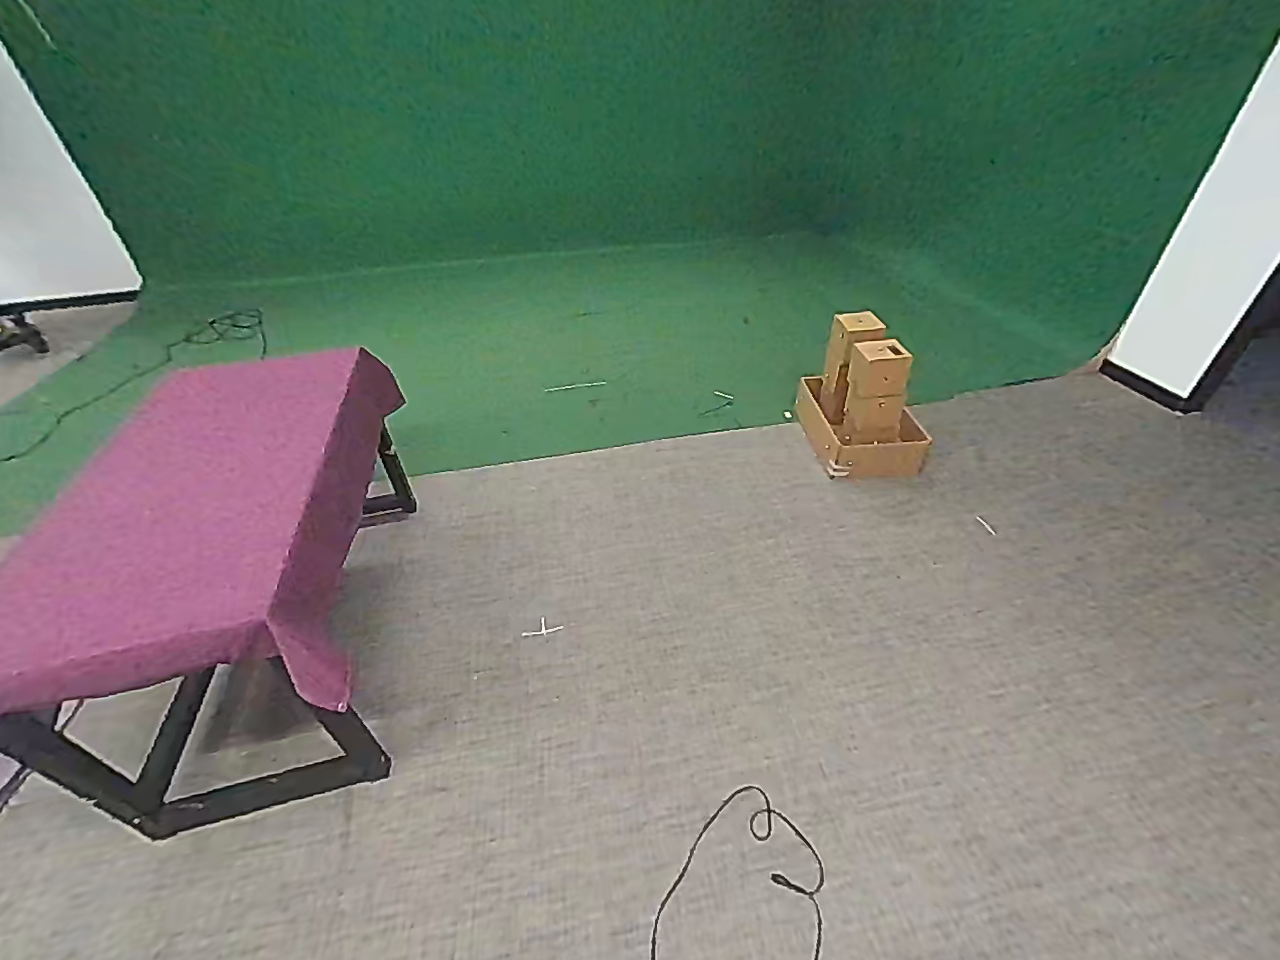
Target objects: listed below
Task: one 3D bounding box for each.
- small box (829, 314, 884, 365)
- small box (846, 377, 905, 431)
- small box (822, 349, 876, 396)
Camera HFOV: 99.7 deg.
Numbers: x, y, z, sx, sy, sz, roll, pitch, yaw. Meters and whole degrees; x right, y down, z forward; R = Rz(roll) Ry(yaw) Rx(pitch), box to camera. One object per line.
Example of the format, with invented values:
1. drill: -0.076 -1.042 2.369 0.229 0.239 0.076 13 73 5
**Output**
1. small box: 0.969 -0.629 2.432 0.168 0.176 0.179 -5 40 -2
2. small box: 0.995 -0.322 2.308 0.179 0.176 0.168 -4 38 -2
3. small box: 0.980 -0.511 2.548 0.179 0.176 0.168 -5 40 0
